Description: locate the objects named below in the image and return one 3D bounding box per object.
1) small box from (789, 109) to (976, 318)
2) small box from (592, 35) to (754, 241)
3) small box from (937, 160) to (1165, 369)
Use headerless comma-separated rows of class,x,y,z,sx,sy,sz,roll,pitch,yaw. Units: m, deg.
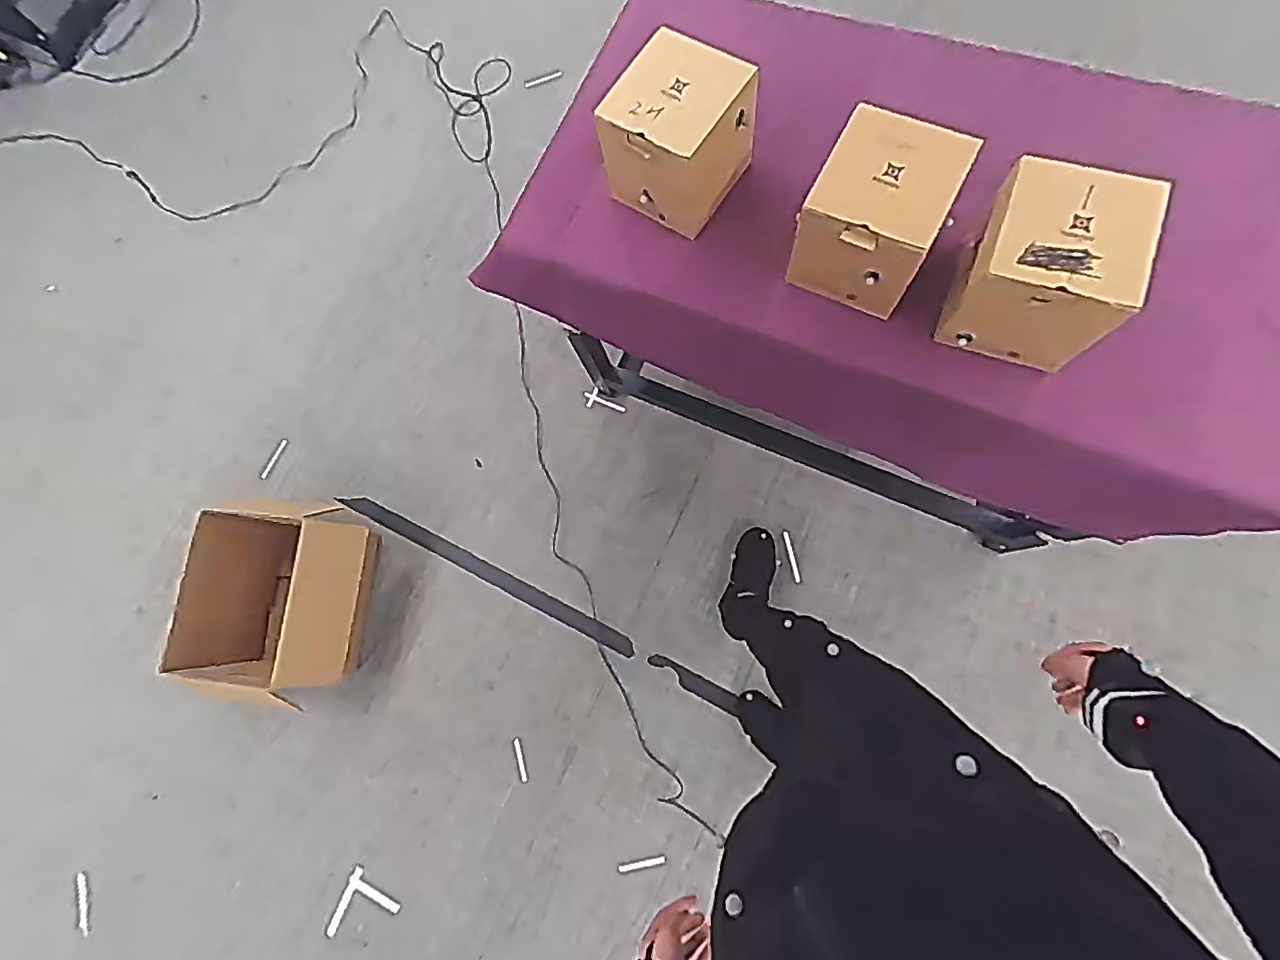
small box,0.323,-0.361,0.760,0.168,0.176,0.179,27,82,12
small box,0.054,-0.514,0.831,0.168,0.176,0.179,34,84,14
small box,0.518,-0.271,0.710,0.168,0.176,0.179,19,79,12
